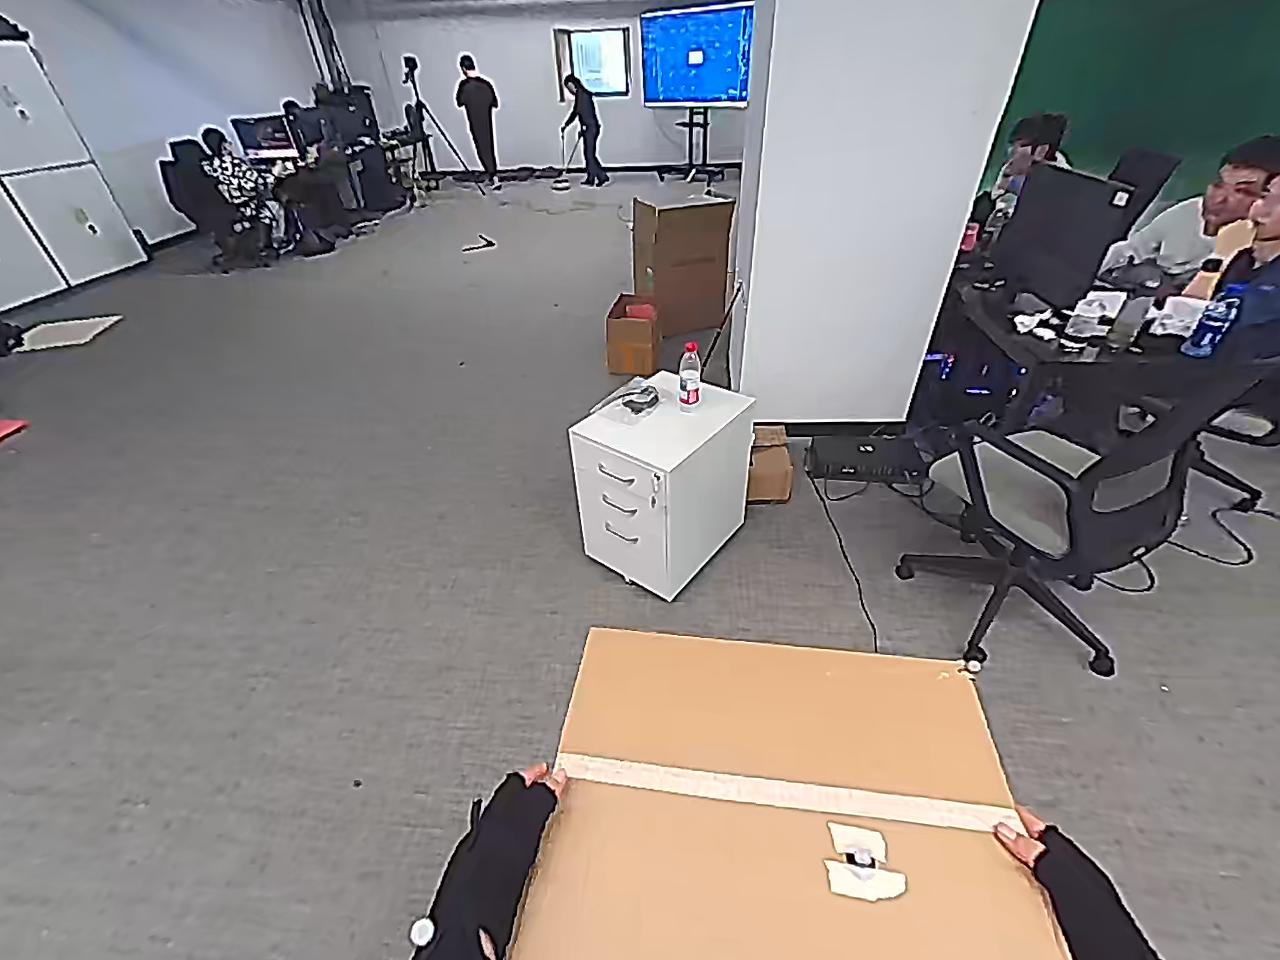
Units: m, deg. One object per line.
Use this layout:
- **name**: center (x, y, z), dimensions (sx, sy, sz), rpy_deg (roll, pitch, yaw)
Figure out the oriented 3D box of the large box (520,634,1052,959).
- **large box**: center (0.131, 0.402, 0.590), dimensions (0.408, 0.320, 0.320), rpy_deg (3, 40, 10)
